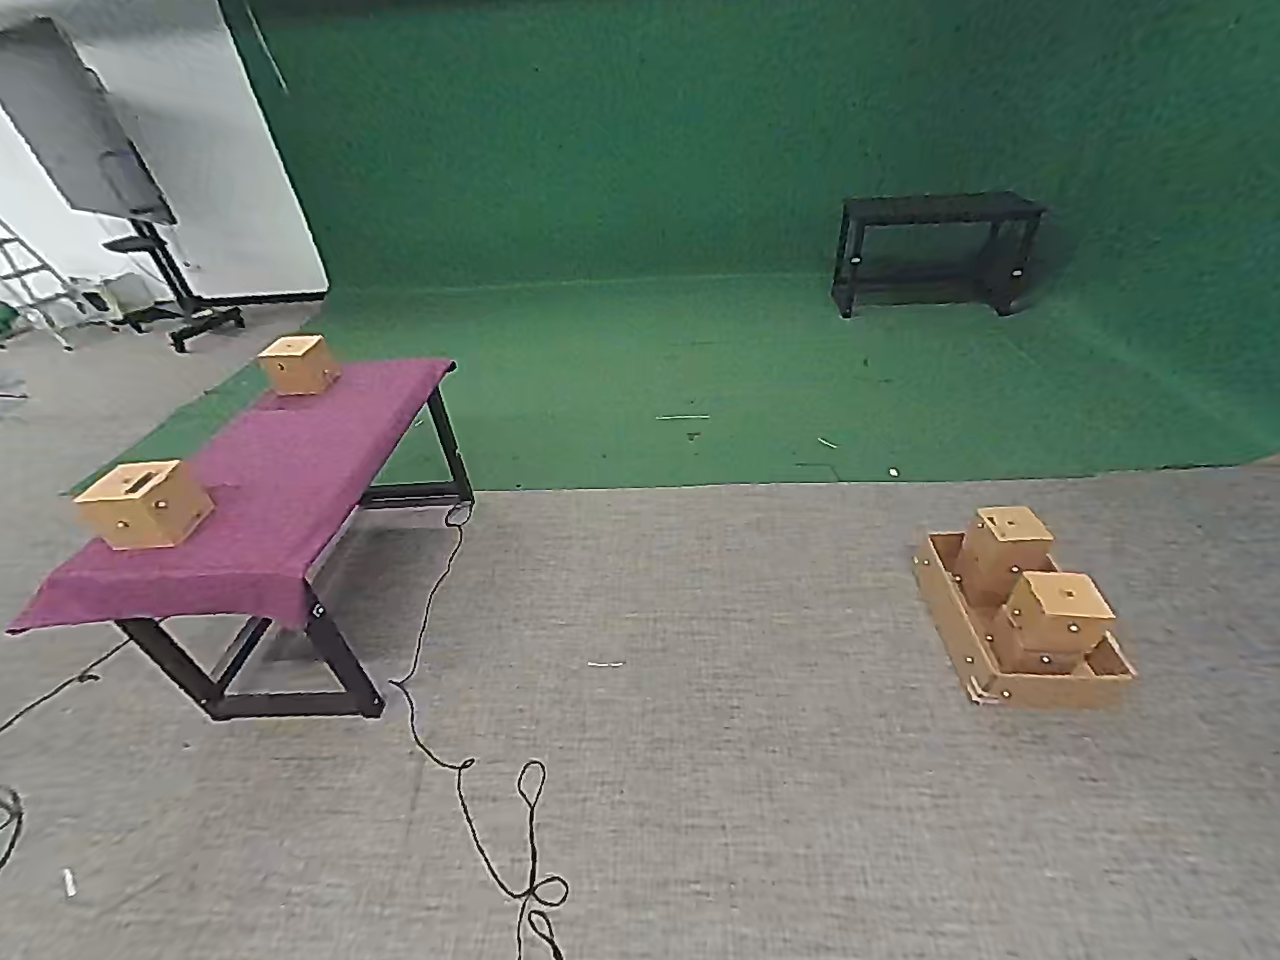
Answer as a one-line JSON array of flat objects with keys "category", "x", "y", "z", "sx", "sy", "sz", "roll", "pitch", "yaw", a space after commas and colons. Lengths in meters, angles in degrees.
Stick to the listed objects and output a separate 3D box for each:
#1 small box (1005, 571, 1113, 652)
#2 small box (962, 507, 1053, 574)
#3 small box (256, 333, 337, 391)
[{"category": "small box", "x": 1.237, "y": 0.394, "z": 1.612, "sx": 0.179, "sy": 0.176, "sz": 0.168, "roll": 1, "pitch": 39, "yaw": 9}, {"category": "small box", "x": 1.246, "y": 0.208, "z": 1.848, "sx": 0.179, "sy": 0.176, "sz": 0.168, "roll": -1, "pitch": 37, "yaw": 3}, {"category": "small box", "x": -1.322, "y": -0.455, "z": 2.094, "sx": 0.179, "sy": 0.176, "sz": 0.168, "roll": 0, "pitch": 40, "yaw": 4}]
